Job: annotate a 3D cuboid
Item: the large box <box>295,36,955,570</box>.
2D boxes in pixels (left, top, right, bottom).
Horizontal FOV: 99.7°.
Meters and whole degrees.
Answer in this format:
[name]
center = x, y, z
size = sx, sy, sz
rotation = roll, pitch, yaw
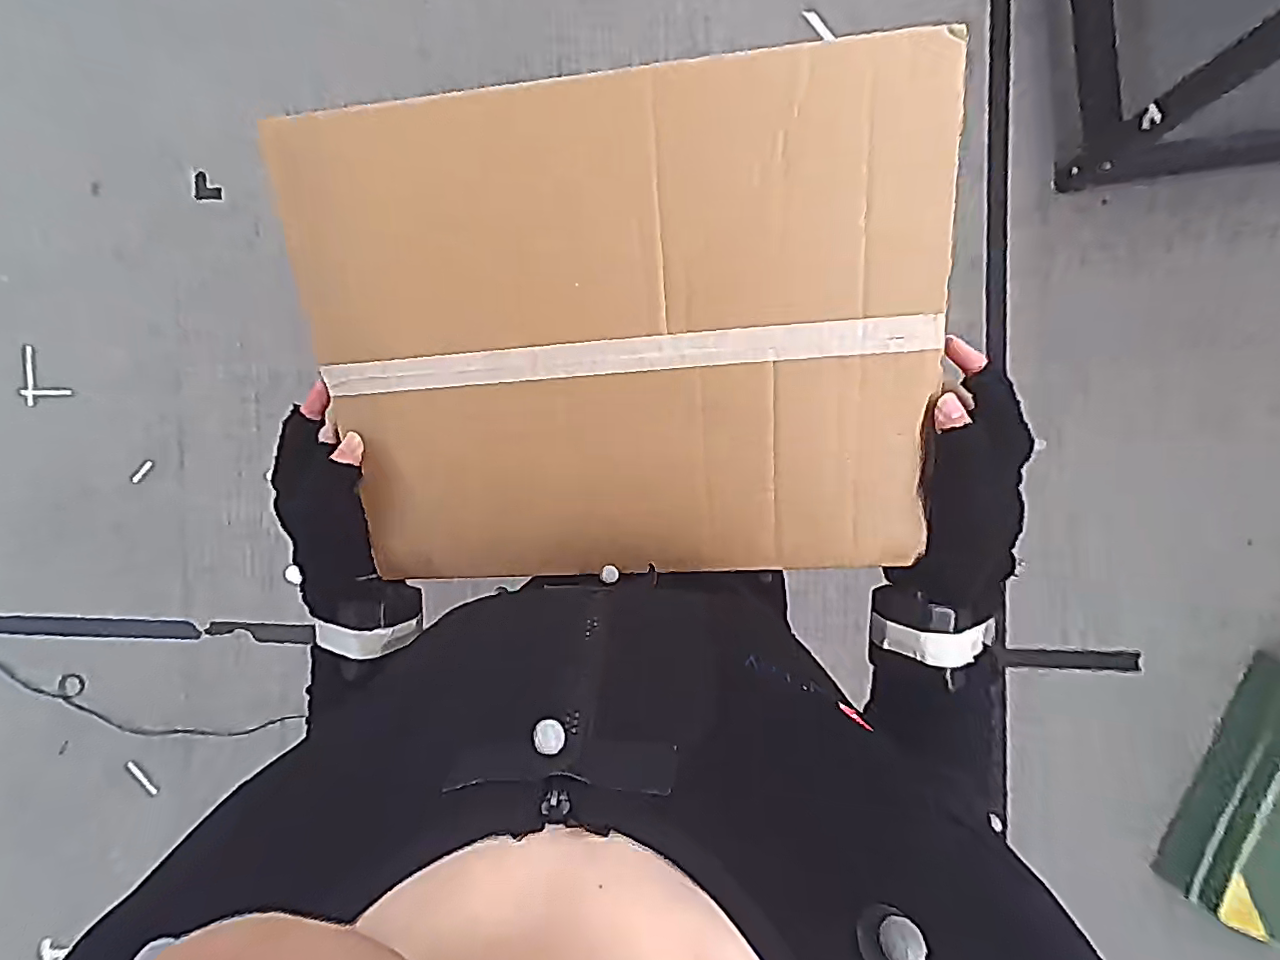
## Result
[large box]
center = 0.002, -0.130, 0.502
size = 0.408, 0.320, 0.320
rotation = -3, 109, 7
